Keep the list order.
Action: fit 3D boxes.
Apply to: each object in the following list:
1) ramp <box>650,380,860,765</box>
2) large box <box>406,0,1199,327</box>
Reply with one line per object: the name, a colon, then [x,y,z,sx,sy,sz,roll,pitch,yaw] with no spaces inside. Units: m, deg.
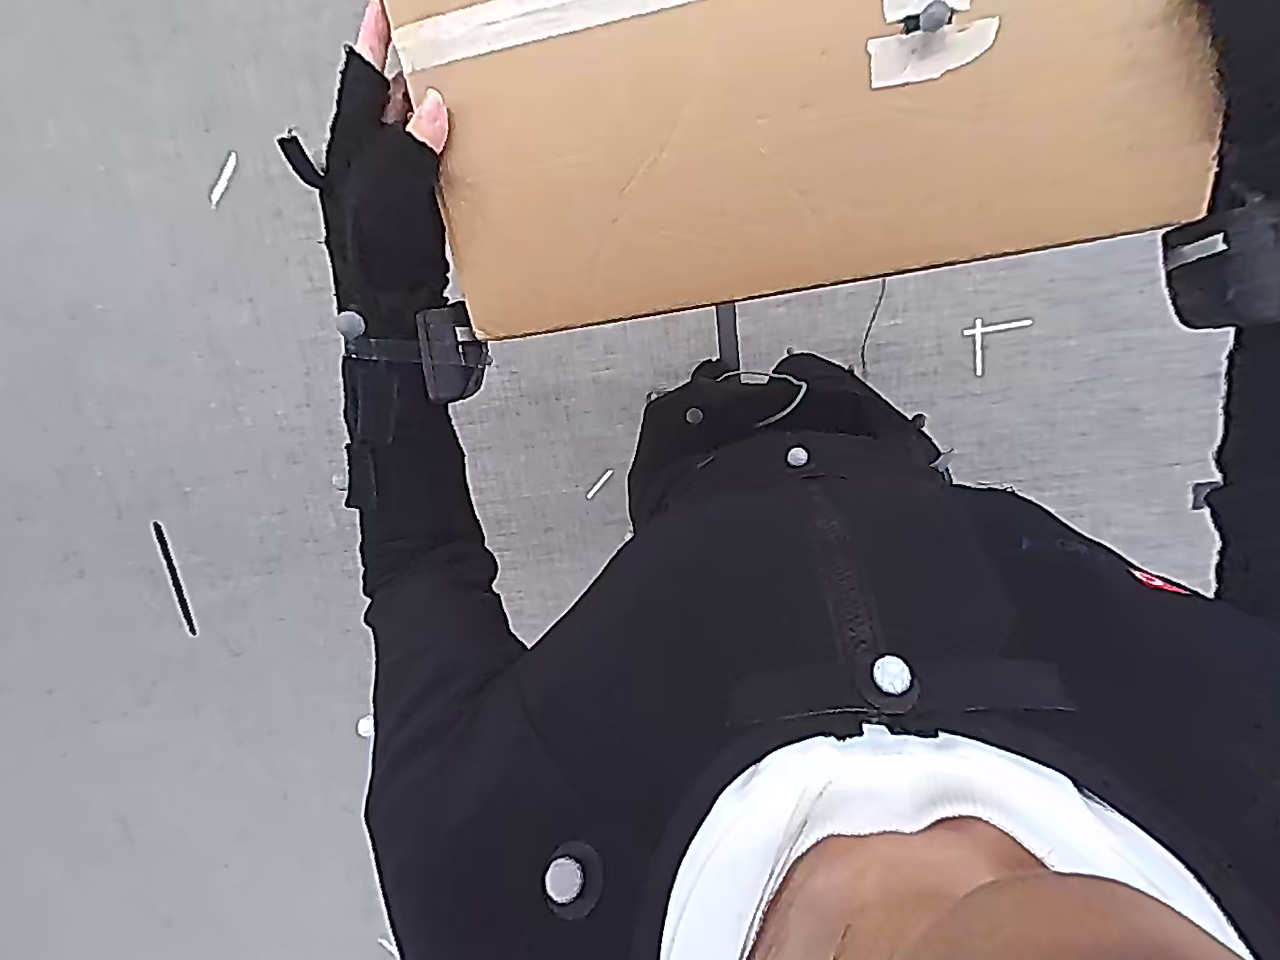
ramp: [0.295,0.253,1.430,0.509,0.206,0.991,-5,101,9]
large box: [0.081,-0.319,0.414,0.408,0.320,0.320,-8,110,8]
